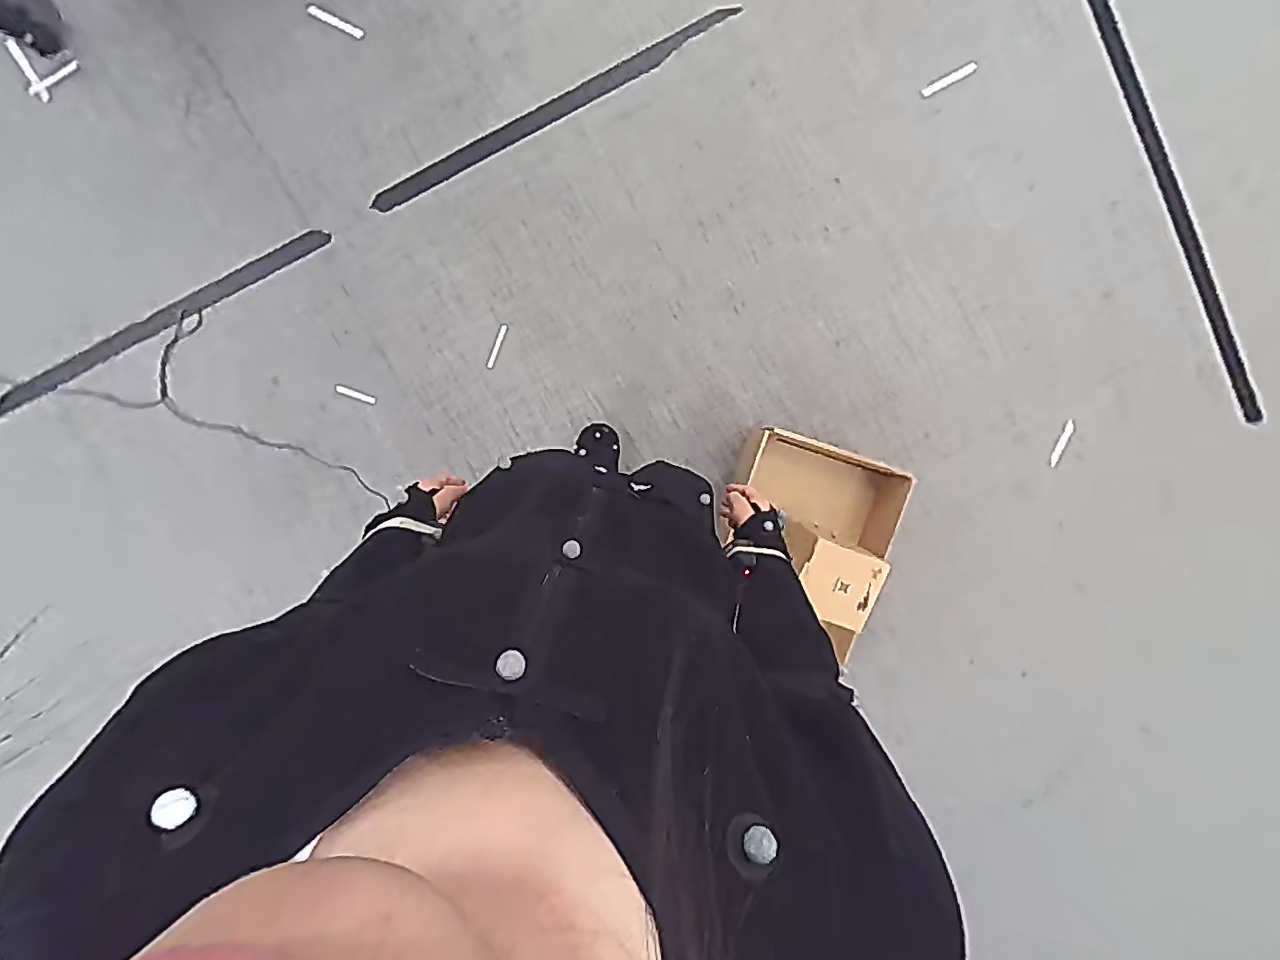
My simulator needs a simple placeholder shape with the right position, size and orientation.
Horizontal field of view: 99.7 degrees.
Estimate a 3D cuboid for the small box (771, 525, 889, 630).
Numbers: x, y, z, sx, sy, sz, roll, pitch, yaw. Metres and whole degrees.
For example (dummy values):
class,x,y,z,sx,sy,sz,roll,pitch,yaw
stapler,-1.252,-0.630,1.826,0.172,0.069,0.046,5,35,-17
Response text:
class,x,y,z,sx,sy,sz,roll,pitch,yaw
small box,0.424,0.214,1.243,0.179,0.176,0.168,22,97,-5
